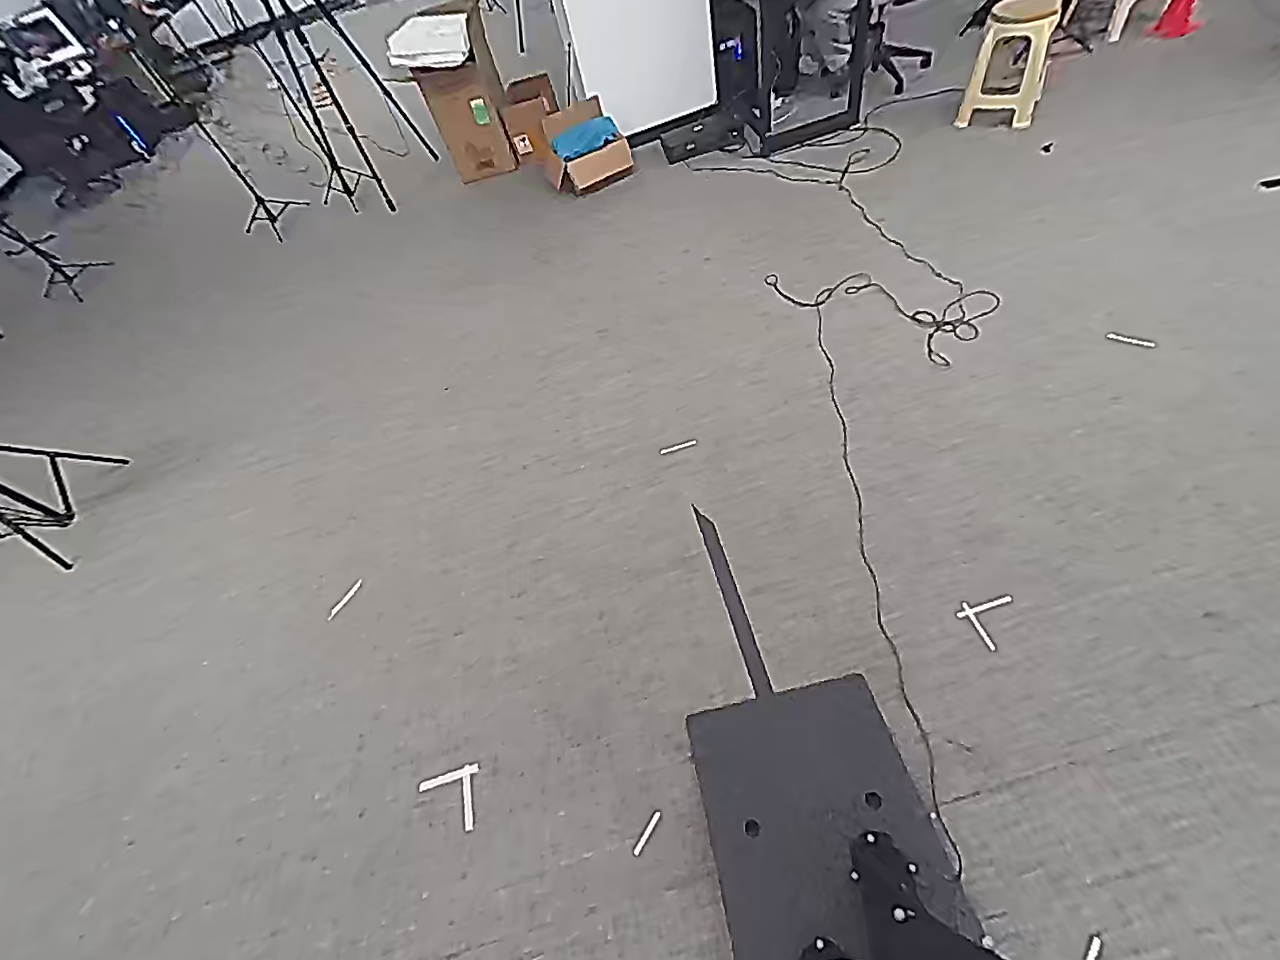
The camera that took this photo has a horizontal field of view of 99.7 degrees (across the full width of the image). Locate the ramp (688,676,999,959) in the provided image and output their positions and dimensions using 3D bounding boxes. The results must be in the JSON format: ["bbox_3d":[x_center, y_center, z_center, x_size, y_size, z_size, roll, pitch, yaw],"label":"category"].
[{"bbox_3d":[0.428,0.917,1.091,0.509,0.206,0.991,-18,52,3],"label":"ramp"}]
